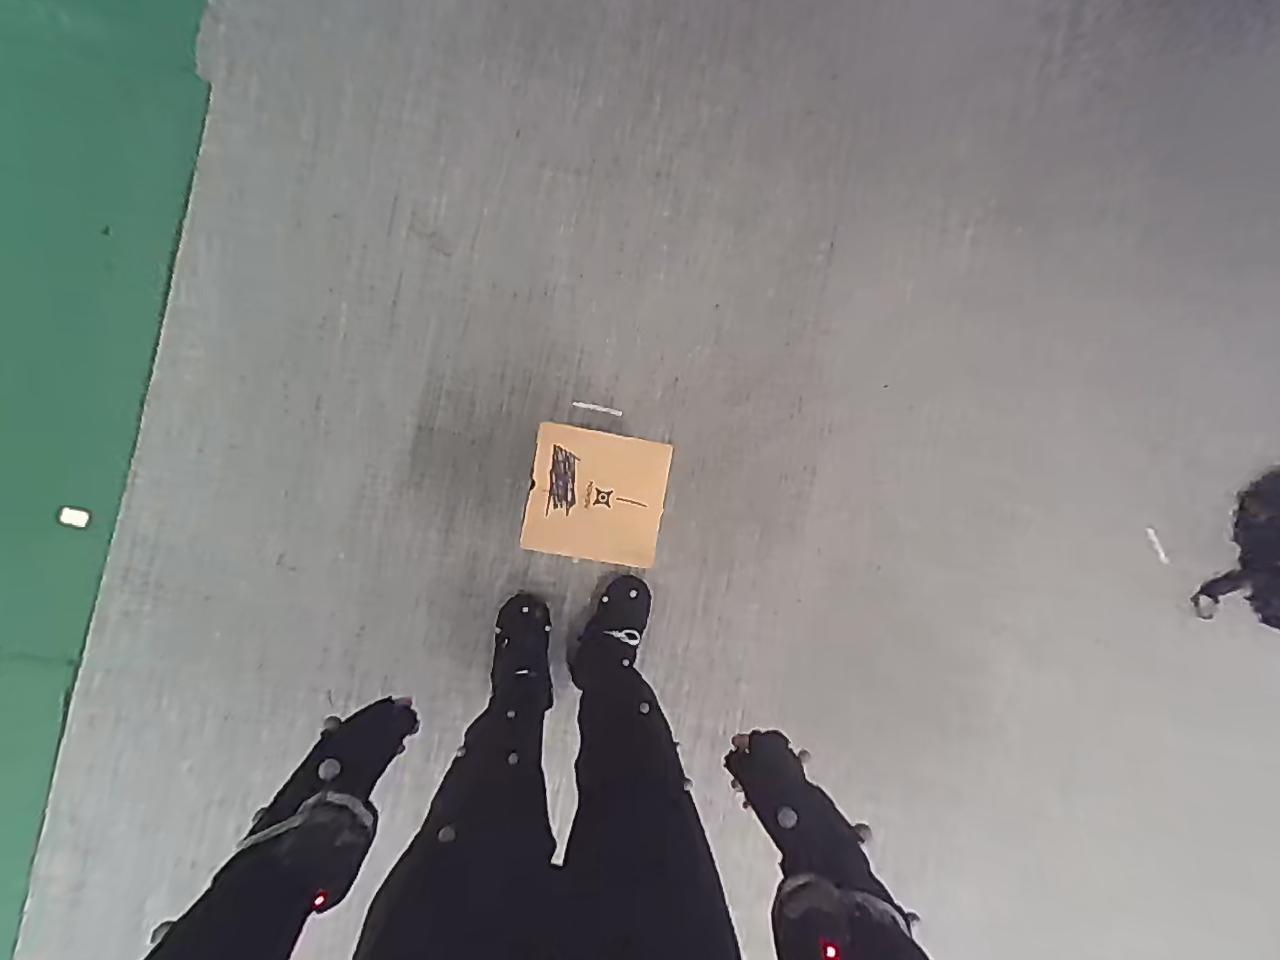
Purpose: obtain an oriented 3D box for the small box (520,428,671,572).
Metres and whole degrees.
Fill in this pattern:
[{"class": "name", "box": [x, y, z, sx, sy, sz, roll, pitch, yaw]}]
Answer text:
[{"class": "small box", "box": [-0.064, 0.028, 0.788, 0.179, 0.176, 0.168, 10, 89, -5]}]
